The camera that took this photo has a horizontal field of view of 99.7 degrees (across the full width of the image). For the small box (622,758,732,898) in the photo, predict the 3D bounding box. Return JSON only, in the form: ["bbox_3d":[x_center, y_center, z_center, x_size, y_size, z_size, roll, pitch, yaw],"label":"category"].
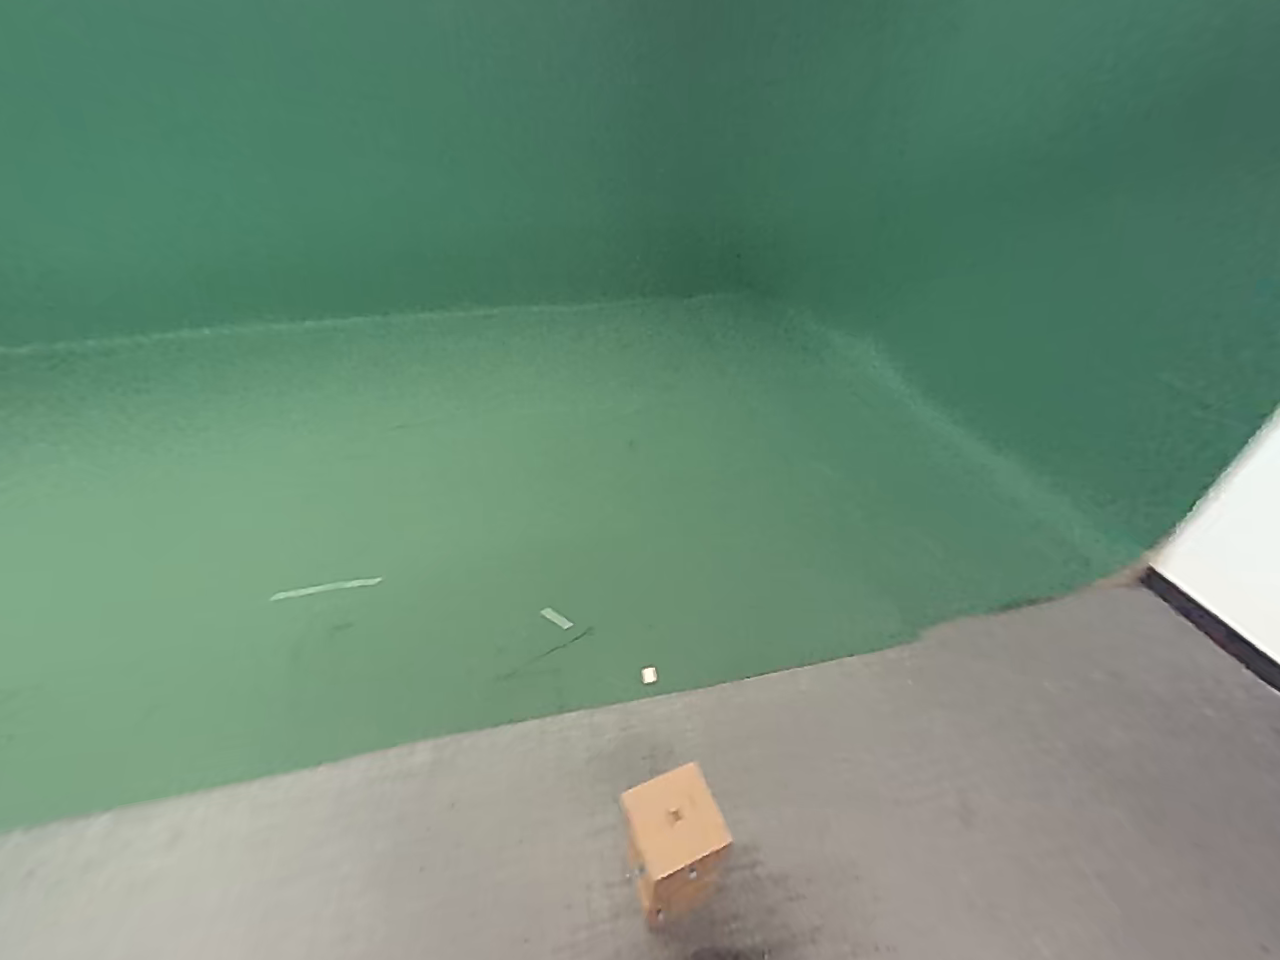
[{"bbox_3d":[0.072,0.725,1.126,0.179,0.176,0.168,-14,42,-18],"label":"small box"}]
